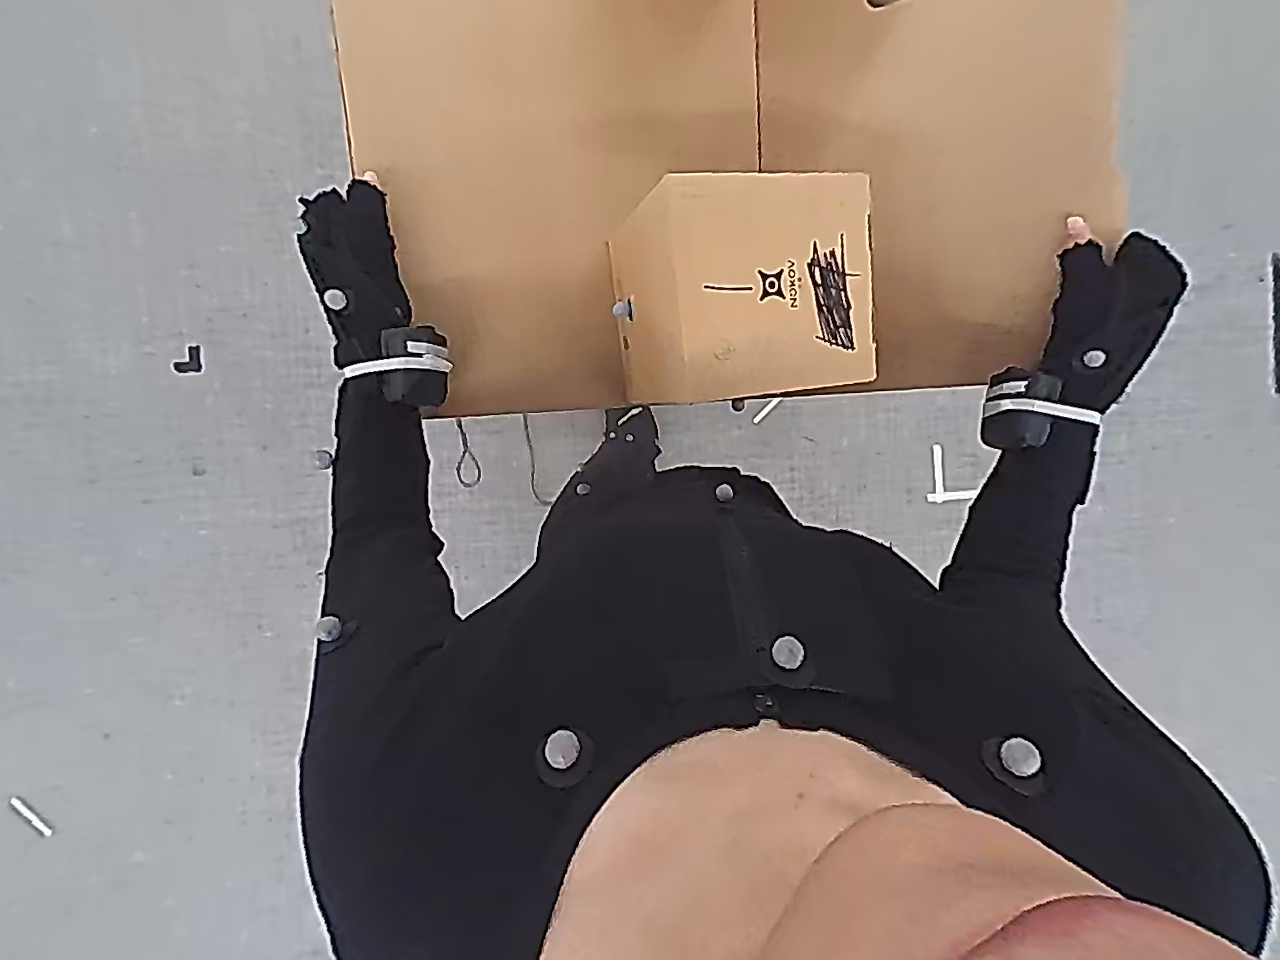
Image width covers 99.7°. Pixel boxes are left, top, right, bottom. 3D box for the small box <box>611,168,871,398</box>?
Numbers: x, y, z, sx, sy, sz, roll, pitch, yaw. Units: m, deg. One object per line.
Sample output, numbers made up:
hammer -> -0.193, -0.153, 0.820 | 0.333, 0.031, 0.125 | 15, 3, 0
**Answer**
small box -> 0.084, -0.167, 0.502 | 0.179, 0.176, 0.168 | -9, 100, -16
